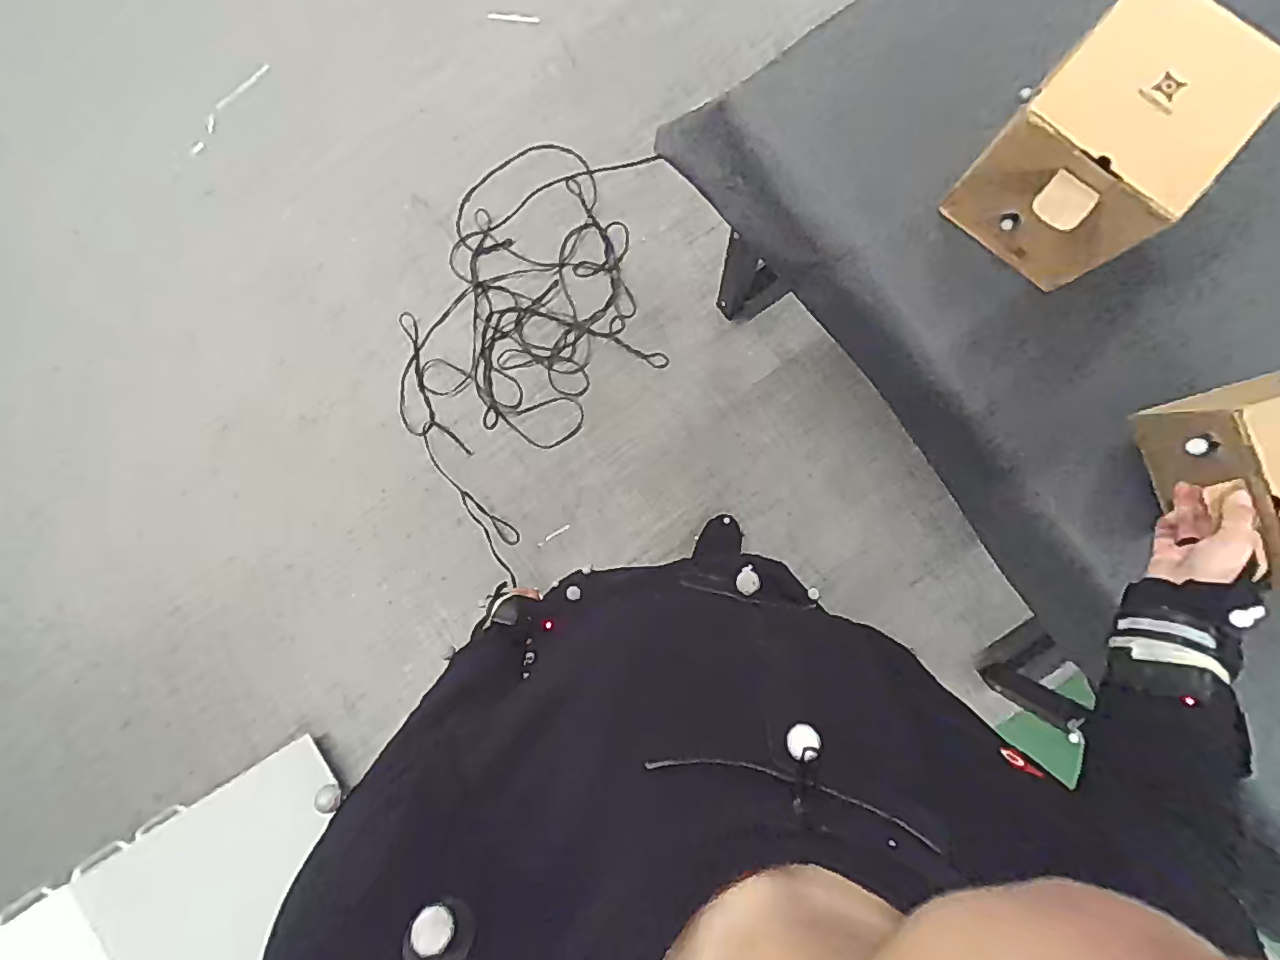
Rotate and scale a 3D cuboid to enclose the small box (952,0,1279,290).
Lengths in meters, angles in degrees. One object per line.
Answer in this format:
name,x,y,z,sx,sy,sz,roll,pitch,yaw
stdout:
small box,0.472,-0.337,0.560,0.168,0.176,0.179,40,91,4
